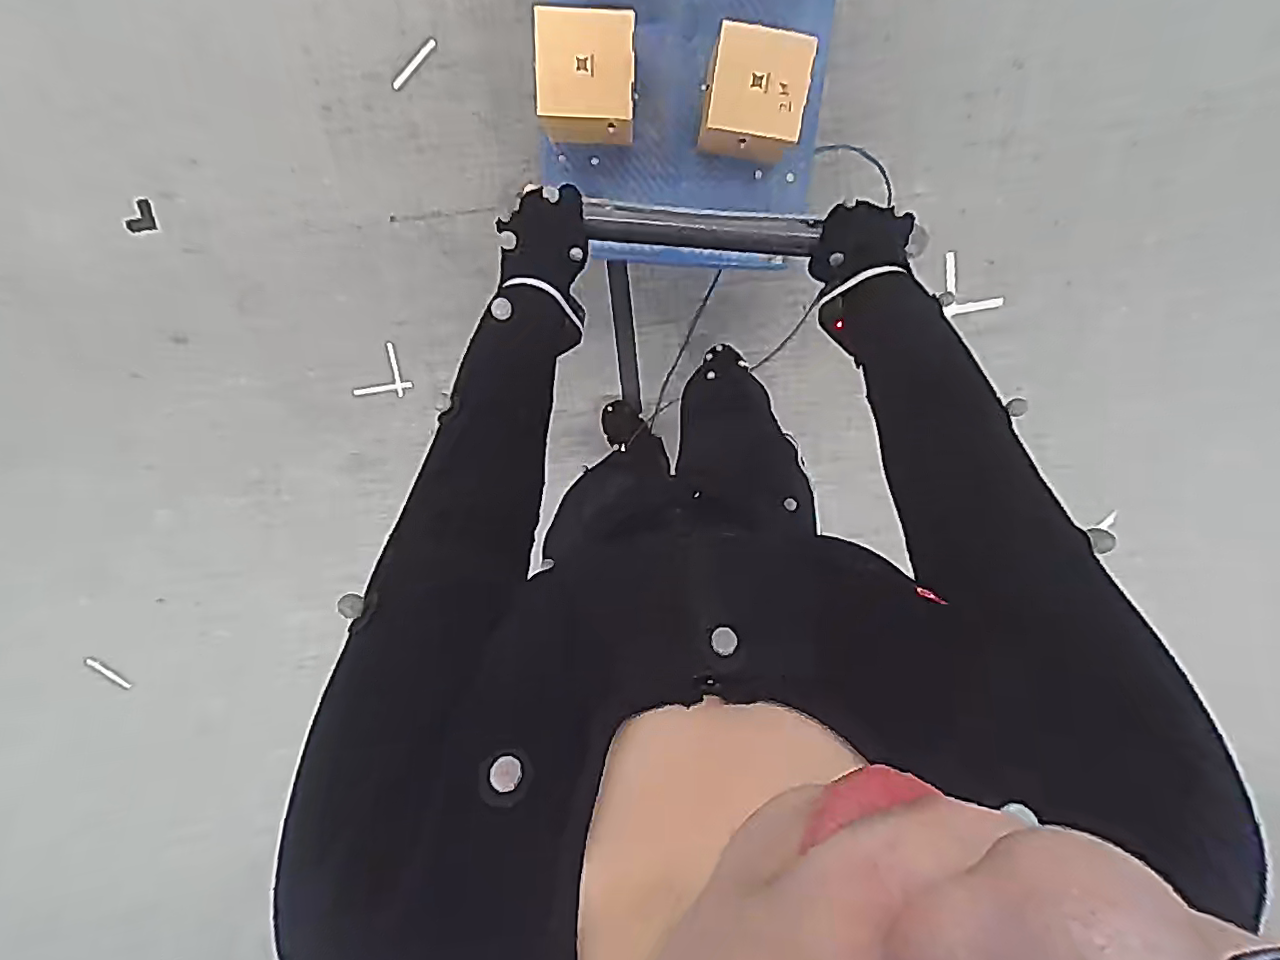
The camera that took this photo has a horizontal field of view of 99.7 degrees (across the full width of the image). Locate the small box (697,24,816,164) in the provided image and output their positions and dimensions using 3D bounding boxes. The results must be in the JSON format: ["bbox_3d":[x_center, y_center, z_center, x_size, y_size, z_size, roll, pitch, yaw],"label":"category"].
[{"bbox_3d":[0.213,-0.732,1.046,0.179,0.176,0.168,7,108,-4],"label":"small box"}]

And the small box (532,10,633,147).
[{"bbox_3d":[-0.104,-0.753,1.031,0.179,0.176,0.168,0,108,-3],"label":"small box"}]
